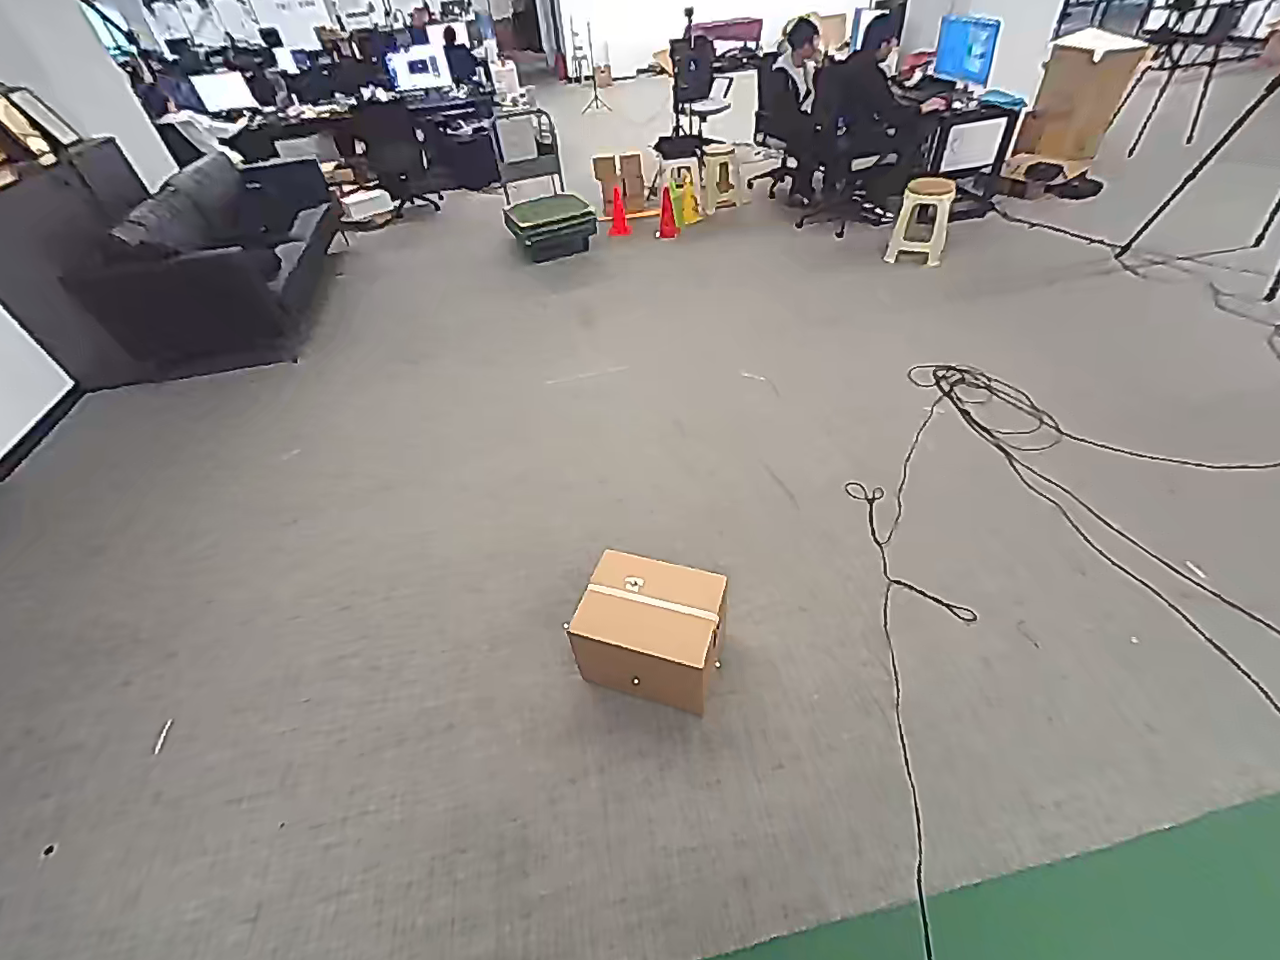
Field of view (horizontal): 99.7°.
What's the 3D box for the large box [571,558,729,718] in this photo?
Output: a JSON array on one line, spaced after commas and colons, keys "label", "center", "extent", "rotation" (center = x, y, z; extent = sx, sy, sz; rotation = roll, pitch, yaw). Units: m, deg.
[{"label": "large box", "center": [0.053, 0.489, 1.689], "extent": [0.408, 0.320, 0.320], "rotation": [9, 45, 18]}]
